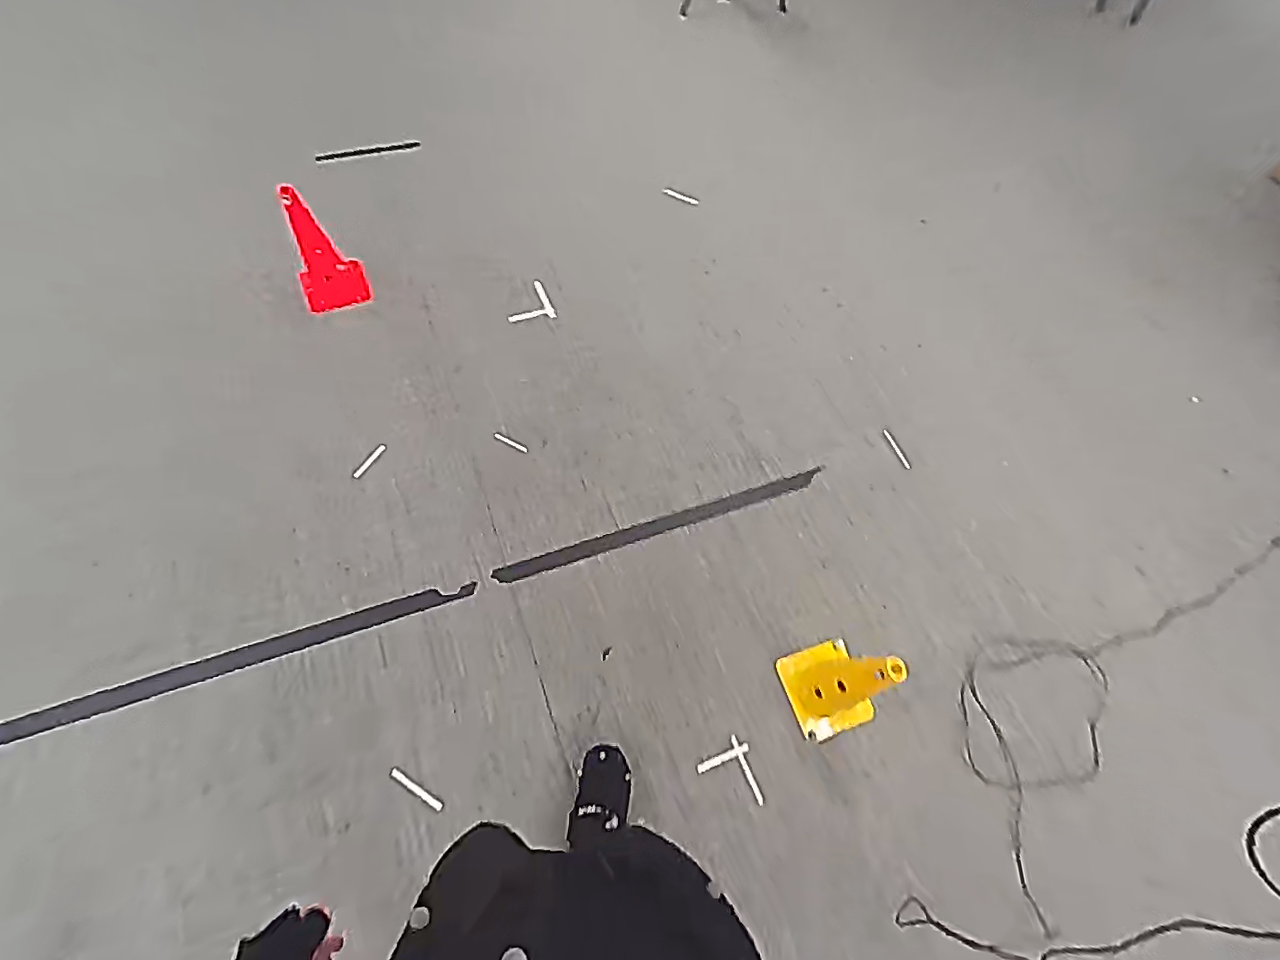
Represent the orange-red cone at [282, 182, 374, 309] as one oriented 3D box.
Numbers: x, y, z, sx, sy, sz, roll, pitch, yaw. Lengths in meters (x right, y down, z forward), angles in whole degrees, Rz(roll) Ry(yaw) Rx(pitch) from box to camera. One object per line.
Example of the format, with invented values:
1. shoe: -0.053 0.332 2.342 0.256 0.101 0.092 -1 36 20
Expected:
1. orange-red cone: -0.989 -0.734 1.651 0.199 0.360 0.198 -21 67 -14
